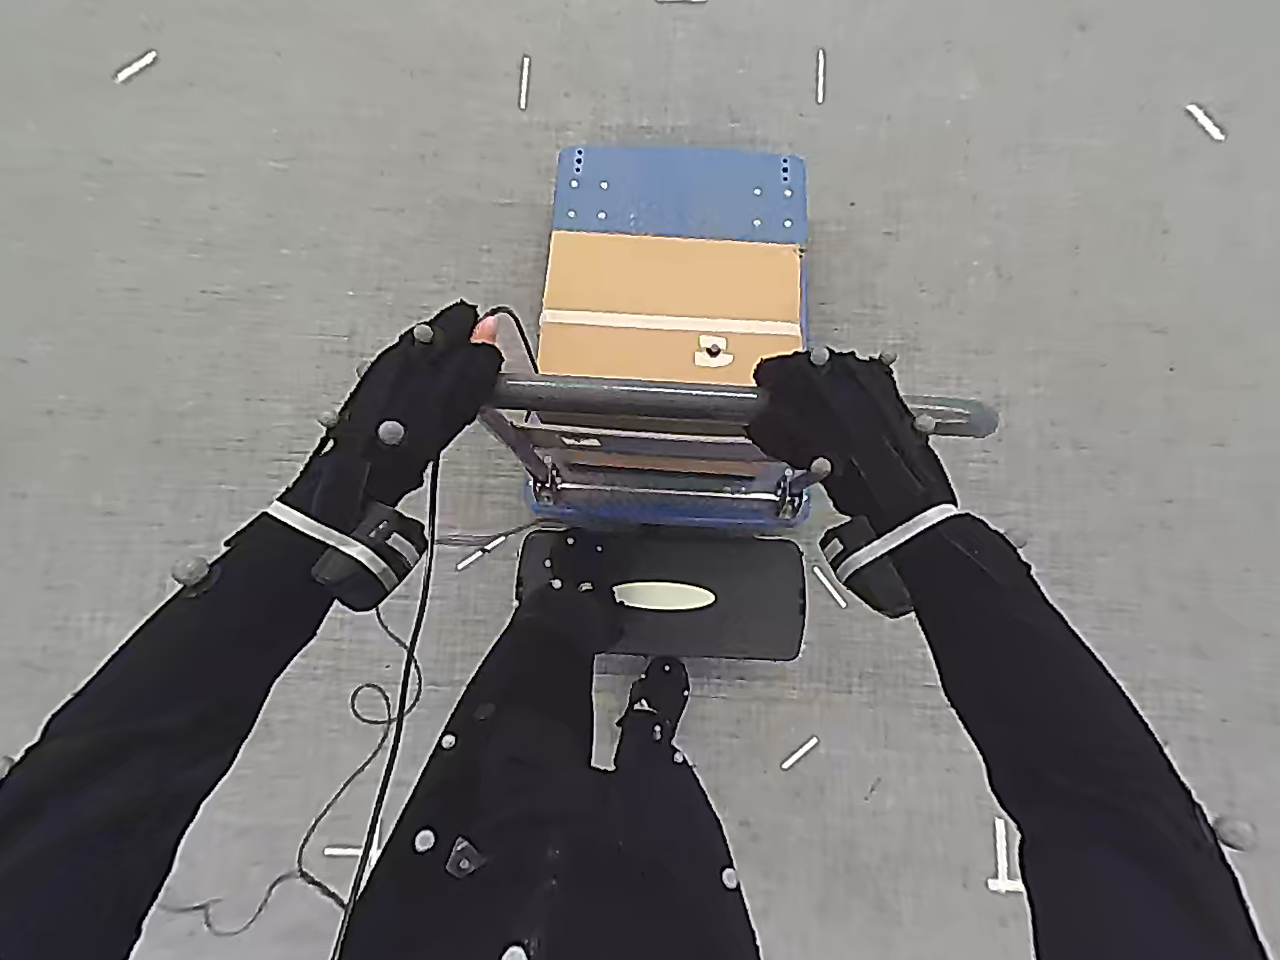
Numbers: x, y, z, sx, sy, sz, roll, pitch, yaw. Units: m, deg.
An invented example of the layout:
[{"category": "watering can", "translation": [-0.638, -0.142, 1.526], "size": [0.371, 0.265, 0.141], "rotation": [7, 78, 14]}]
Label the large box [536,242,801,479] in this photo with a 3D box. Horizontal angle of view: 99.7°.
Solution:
[{"category": "large box", "translation": [0.045, -0.192, 0.980], "size": [0.408, 0.320, 0.320], "rotation": [4, 78, 0]}]
